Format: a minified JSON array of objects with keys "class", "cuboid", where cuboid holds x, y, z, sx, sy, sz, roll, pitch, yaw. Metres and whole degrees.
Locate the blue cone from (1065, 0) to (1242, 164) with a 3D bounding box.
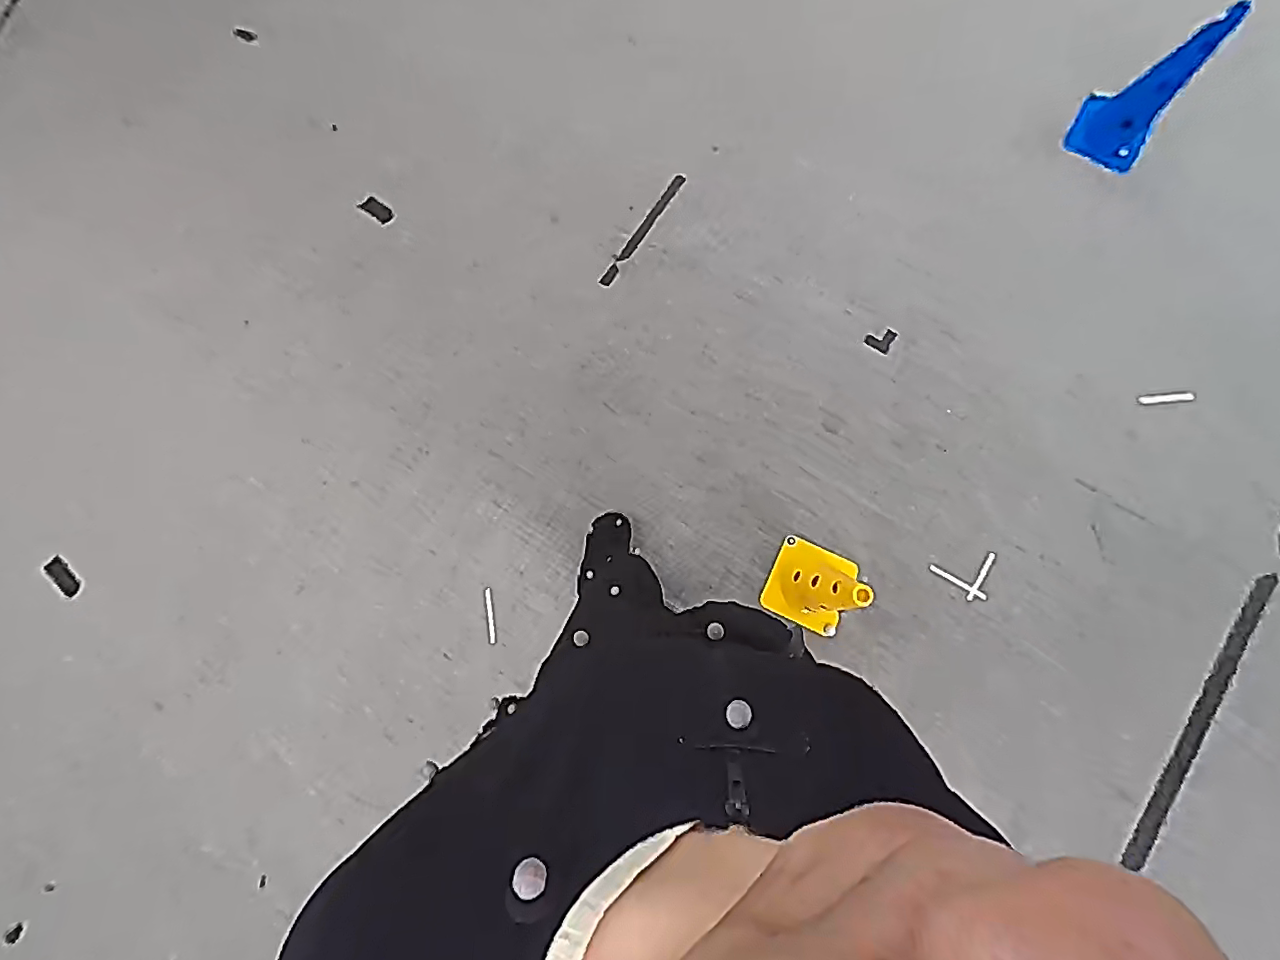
[{"class":"blue cone","cuboid":[1.303,-1.011,1.351,0.192,0.380,0.193,32,84,7]}]
